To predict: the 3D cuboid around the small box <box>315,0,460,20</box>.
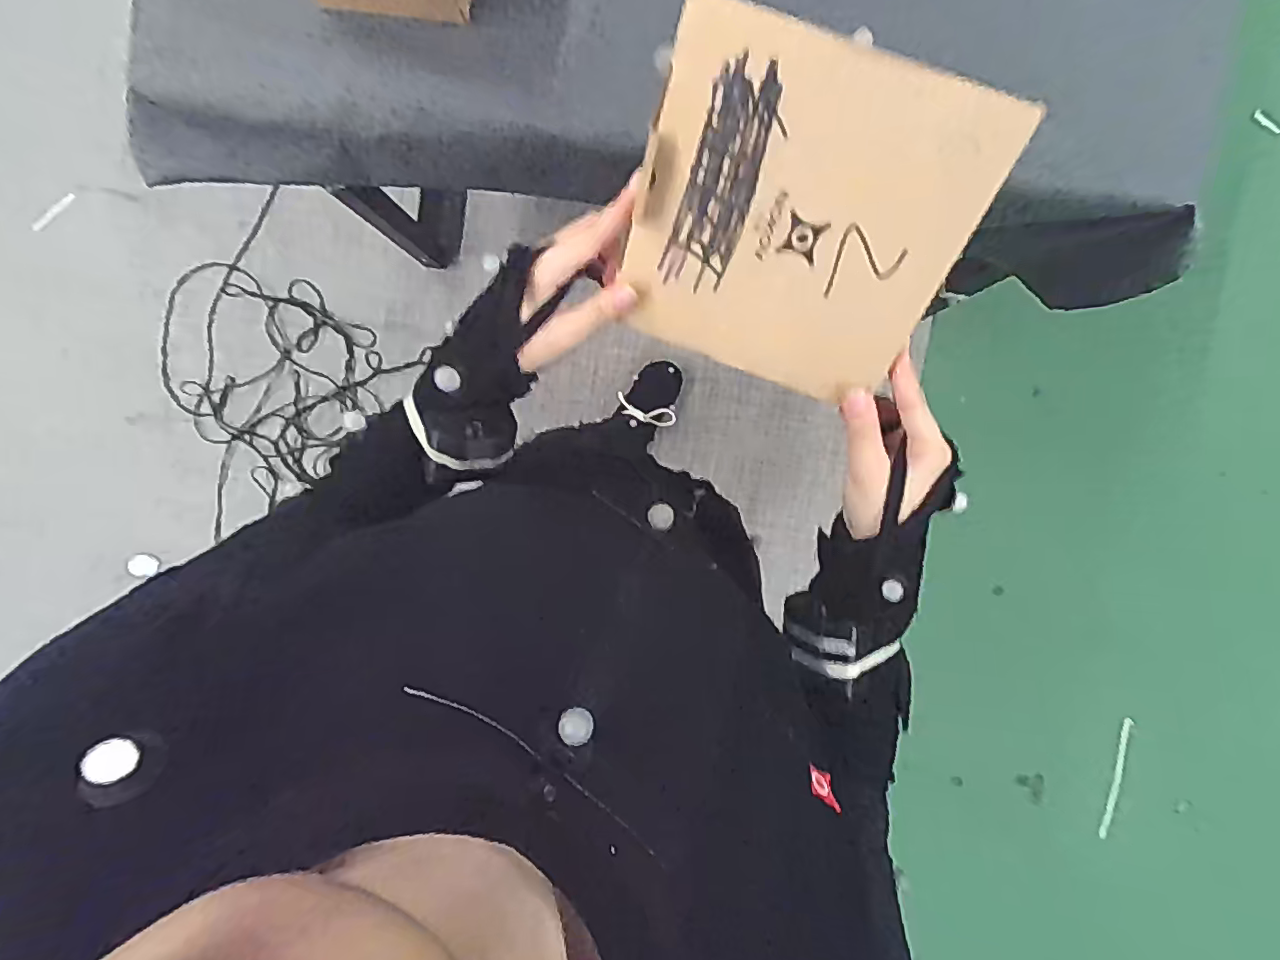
[{"bbox_3d":[-0.269,-0.592,0.518,0.179,0.176,0.168,7,92,2],"label":"small box"}]
